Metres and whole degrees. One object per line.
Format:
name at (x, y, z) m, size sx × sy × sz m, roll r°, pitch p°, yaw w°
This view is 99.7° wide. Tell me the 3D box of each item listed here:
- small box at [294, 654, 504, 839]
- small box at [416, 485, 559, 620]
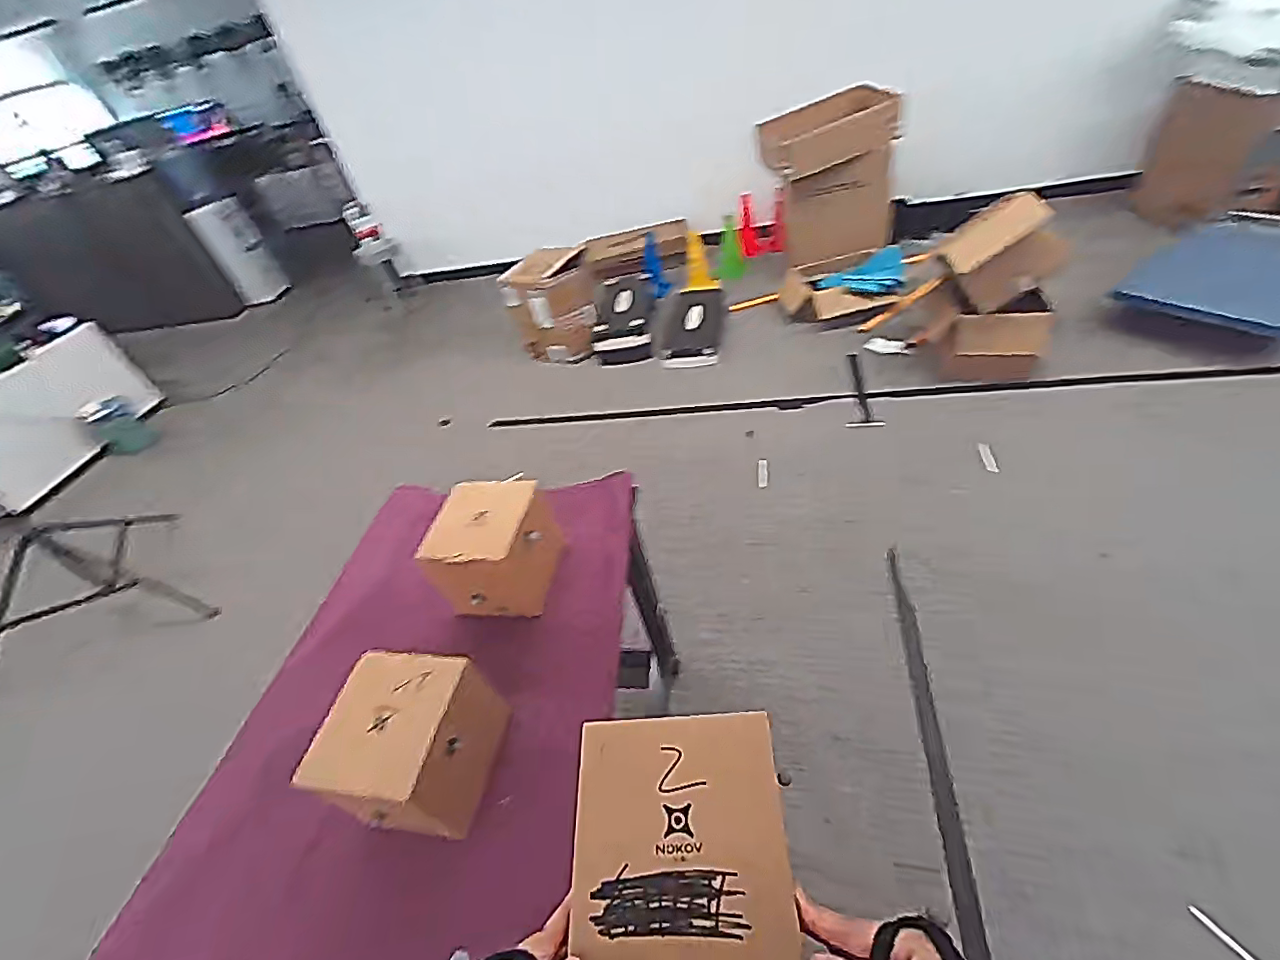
small box at (-0.307, 0.362, 0.735) m, size 0.168 × 0.176 × 0.179 m, roll -1°, pitch 44°, yaw 15°
small box at (-0.258, 0.127, 0.970) m, size 0.168 × 0.176 × 0.179 m, roll -2°, pitch 45°, yaw 16°
